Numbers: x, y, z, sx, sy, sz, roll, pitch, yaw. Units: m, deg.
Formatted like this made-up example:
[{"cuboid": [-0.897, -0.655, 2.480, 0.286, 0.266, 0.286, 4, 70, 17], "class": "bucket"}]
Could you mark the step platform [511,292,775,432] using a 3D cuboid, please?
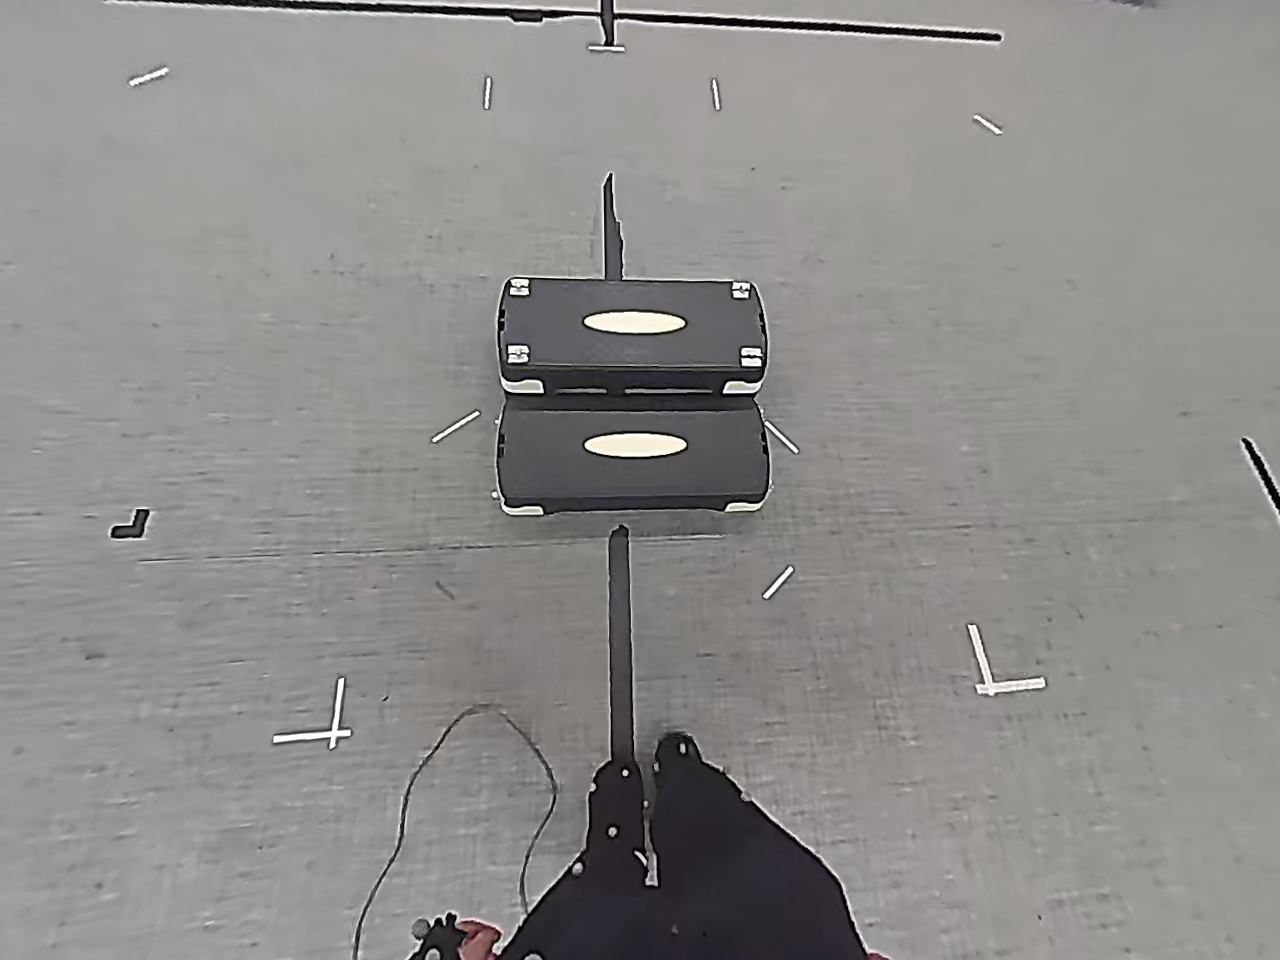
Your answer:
[{"cuboid": [0.007, -0.310, 1.431, 0.684, 0.204, 0.286, 3, 67, -4], "class": "step platform"}]
